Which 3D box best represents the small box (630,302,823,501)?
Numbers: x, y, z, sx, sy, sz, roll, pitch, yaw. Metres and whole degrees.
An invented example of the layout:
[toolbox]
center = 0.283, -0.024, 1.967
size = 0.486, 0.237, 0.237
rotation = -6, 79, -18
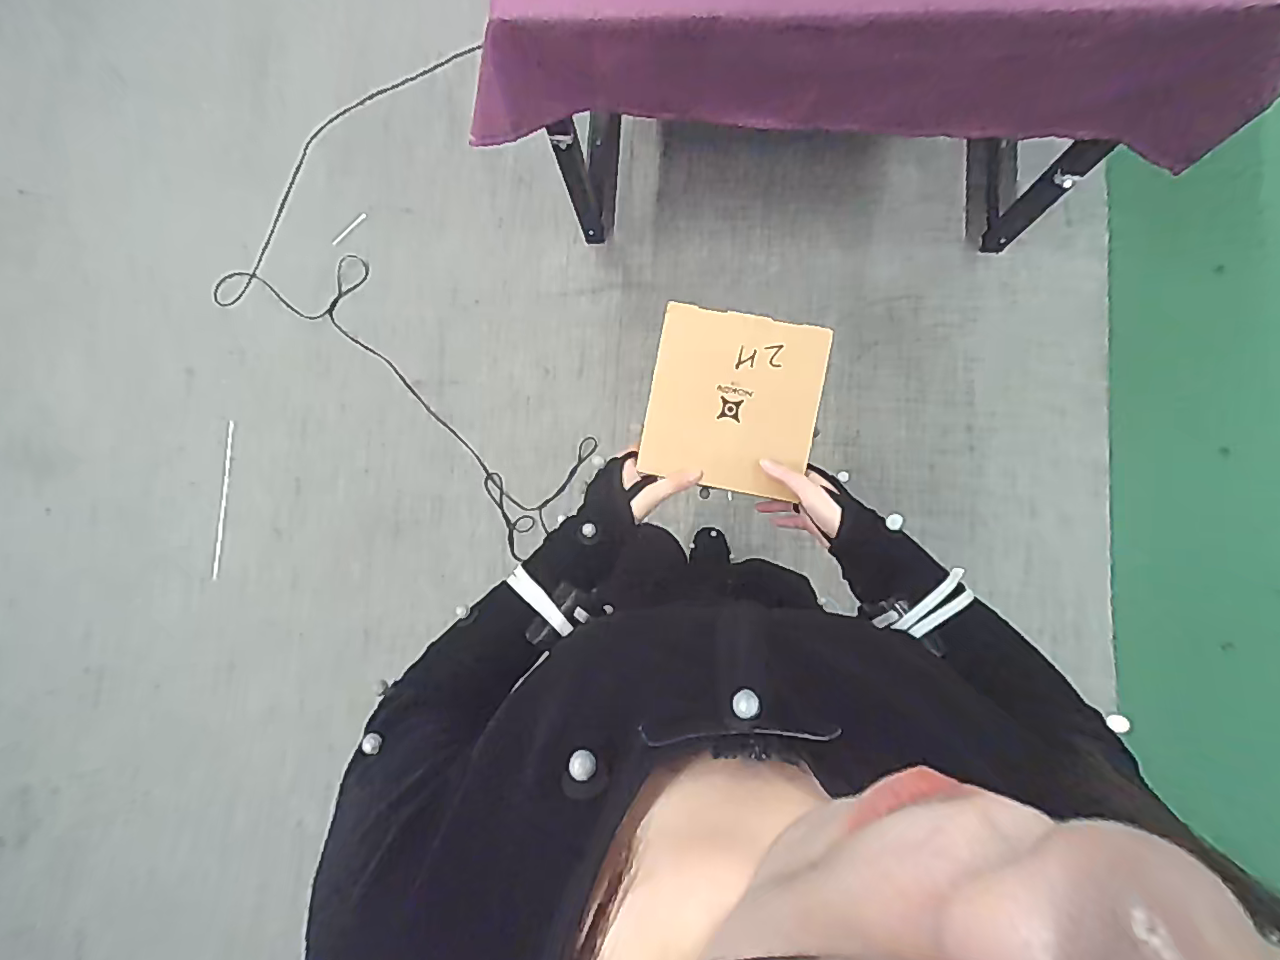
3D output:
[small box]
center = 0.093, -0.081, 0.624
size = 0.168, 0.176, 0.179
rotation = 12, 92, 4
